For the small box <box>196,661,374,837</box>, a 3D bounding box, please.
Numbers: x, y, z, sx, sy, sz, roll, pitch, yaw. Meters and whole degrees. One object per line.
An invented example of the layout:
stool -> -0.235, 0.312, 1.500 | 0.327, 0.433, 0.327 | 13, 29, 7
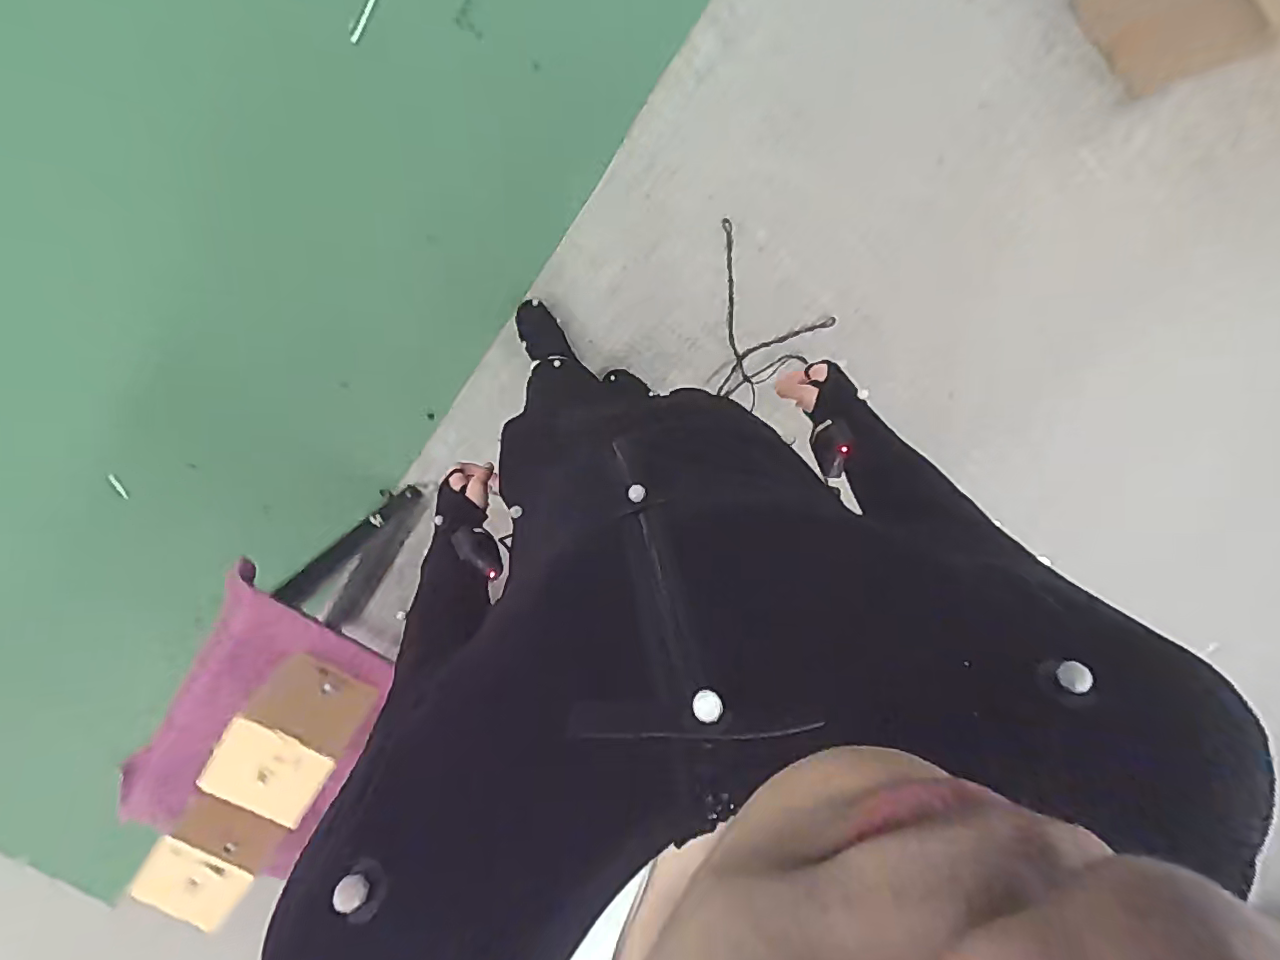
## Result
small box -> -0.596, 0.454, 0.932 | 0.168, 0.176, 0.179 | 33, 104, -11

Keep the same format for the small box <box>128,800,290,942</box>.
small box -> -0.776, 0.694, 1.009 | 0.168, 0.176, 0.179 | 35, 104, -11
